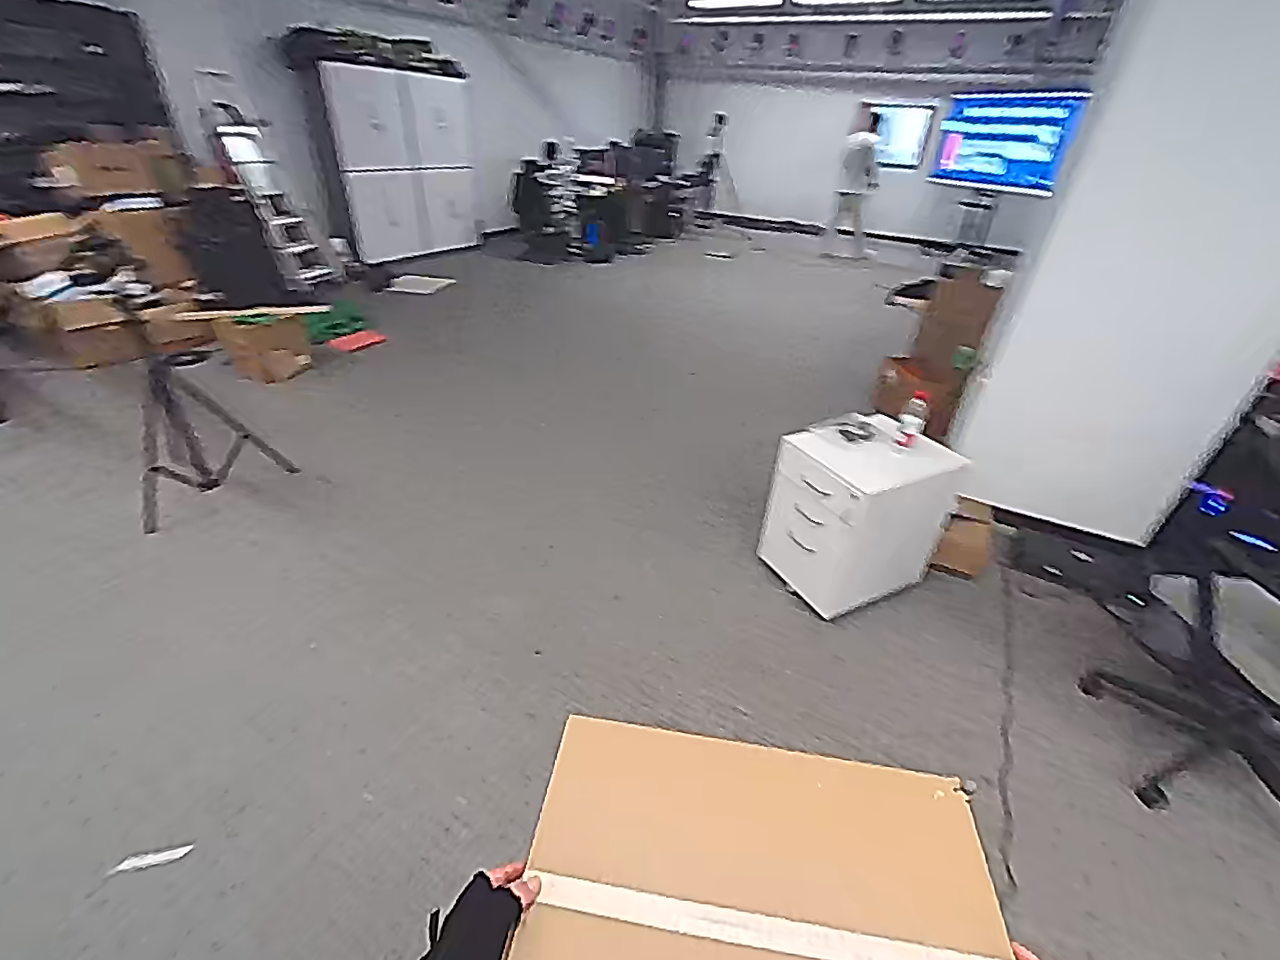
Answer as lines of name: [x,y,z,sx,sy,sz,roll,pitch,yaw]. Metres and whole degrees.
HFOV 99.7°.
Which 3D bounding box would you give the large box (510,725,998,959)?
large box: [0.090,0.495,0.543,0.408,0.320,0.320,7,37,5]
